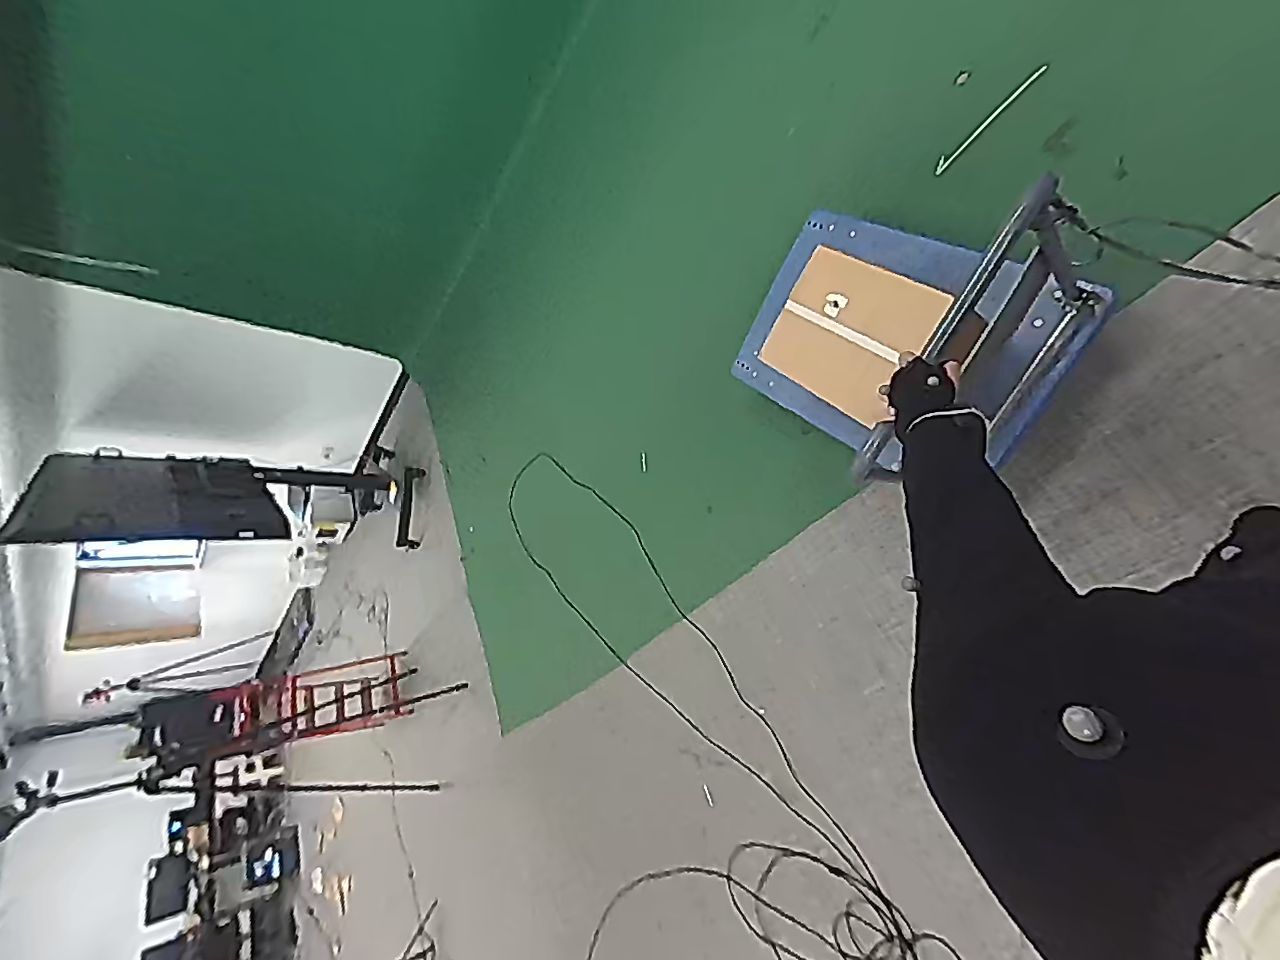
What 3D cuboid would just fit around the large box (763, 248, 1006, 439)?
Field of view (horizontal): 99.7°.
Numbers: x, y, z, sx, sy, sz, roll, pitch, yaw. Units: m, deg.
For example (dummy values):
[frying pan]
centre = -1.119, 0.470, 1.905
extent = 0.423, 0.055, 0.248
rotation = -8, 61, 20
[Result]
[large box]
centre = 0.608, -0.340, 1.375
extent = 0.408, 0.320, 0.320
rotation = 46, 119, 40
